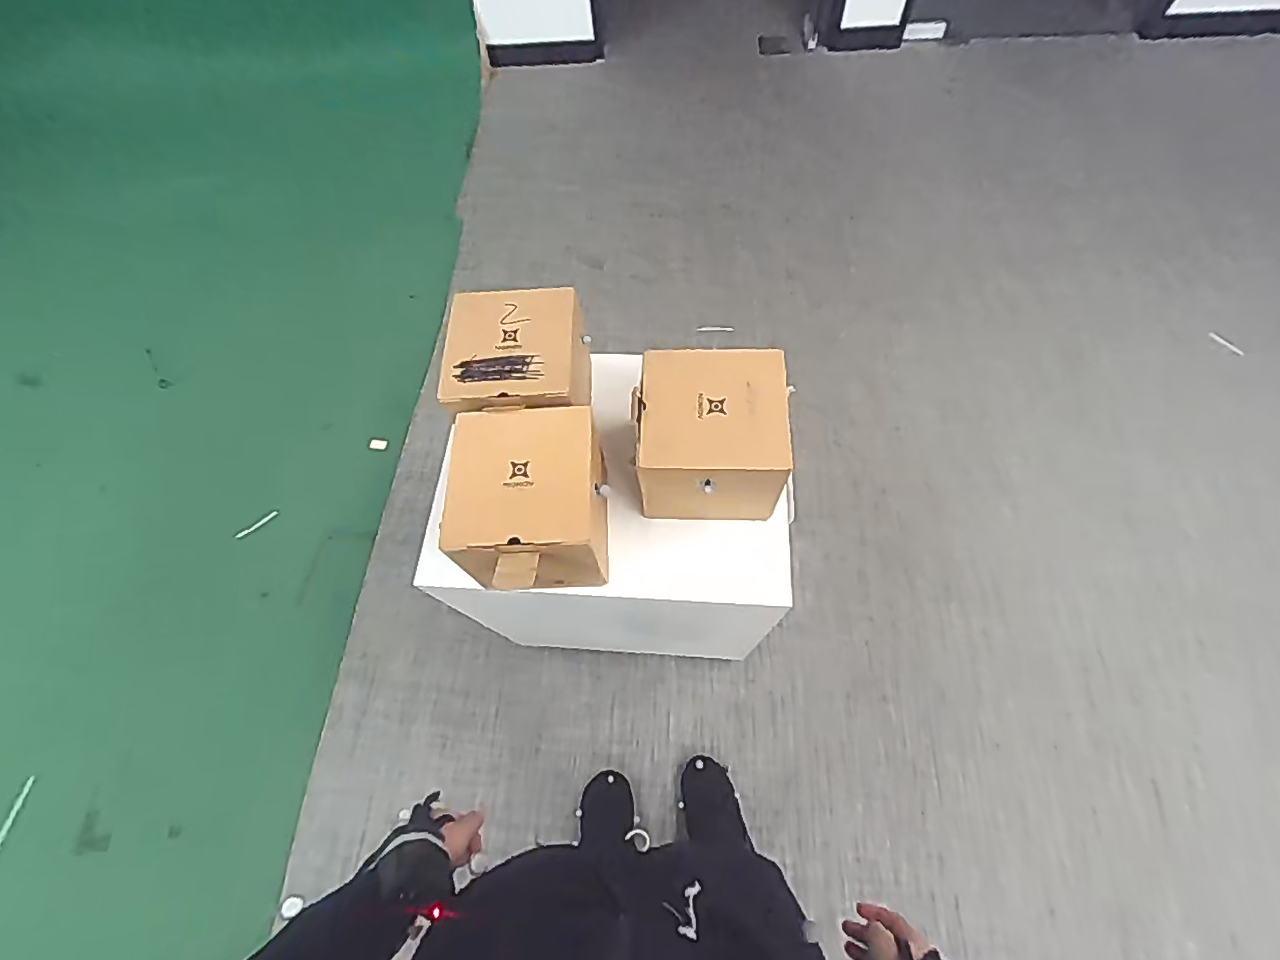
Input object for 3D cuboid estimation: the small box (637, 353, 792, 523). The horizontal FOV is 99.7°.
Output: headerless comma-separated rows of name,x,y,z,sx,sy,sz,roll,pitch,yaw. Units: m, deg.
small box,0.092,-0.048,0.708,0.179,0.176,0.168,1,66,4
